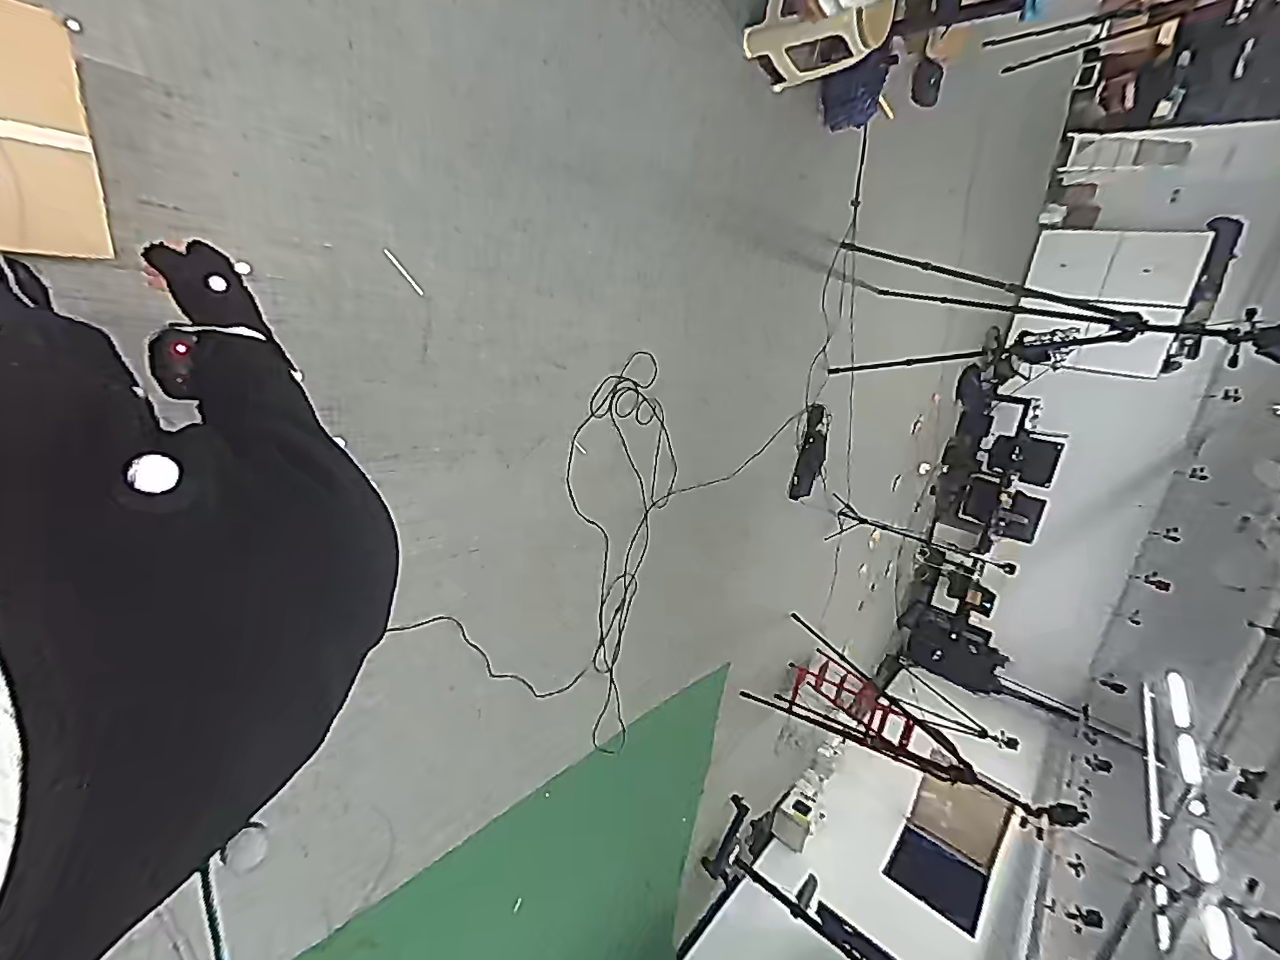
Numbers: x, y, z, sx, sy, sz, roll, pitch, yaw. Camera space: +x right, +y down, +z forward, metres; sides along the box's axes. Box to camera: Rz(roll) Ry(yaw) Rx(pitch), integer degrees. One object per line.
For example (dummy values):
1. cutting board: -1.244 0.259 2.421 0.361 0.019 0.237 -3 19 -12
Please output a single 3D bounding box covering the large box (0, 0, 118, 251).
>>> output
1. large box: -1.036 -0.501 0.733 0.408 0.320 0.320 -15 119 -46
